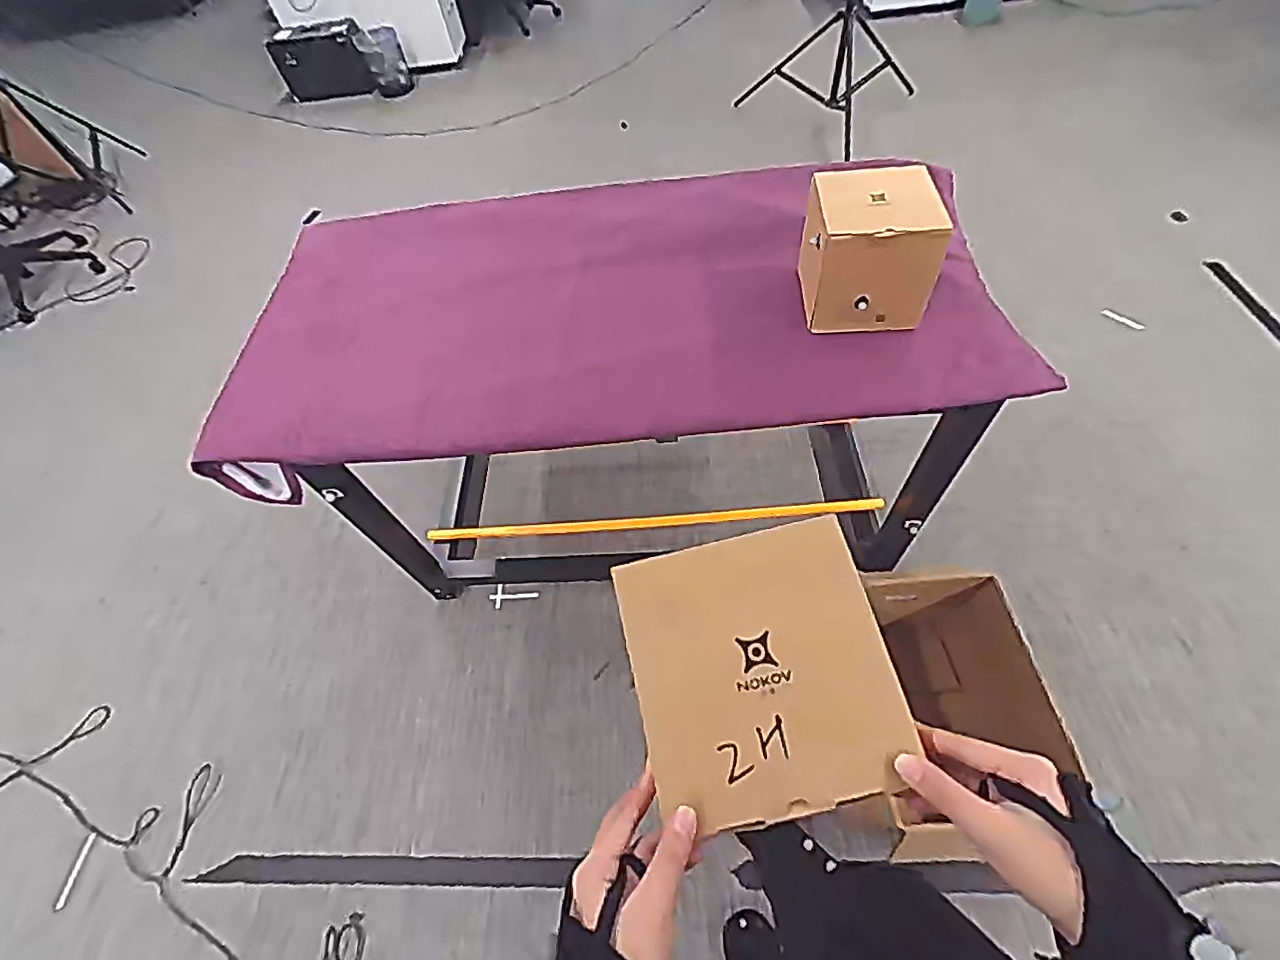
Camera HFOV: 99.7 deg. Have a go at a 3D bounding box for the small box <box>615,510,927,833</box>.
[{"bbox_3d":[0.085,0.145,0.430,0.168,0.176,0.179,-15,70,2],"label":"small box"}]

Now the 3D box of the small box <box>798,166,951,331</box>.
[{"bbox_3d":[0.345,-0.354,0.837,0.168,0.176,0.179,-1,55,7],"label":"small box"}]
